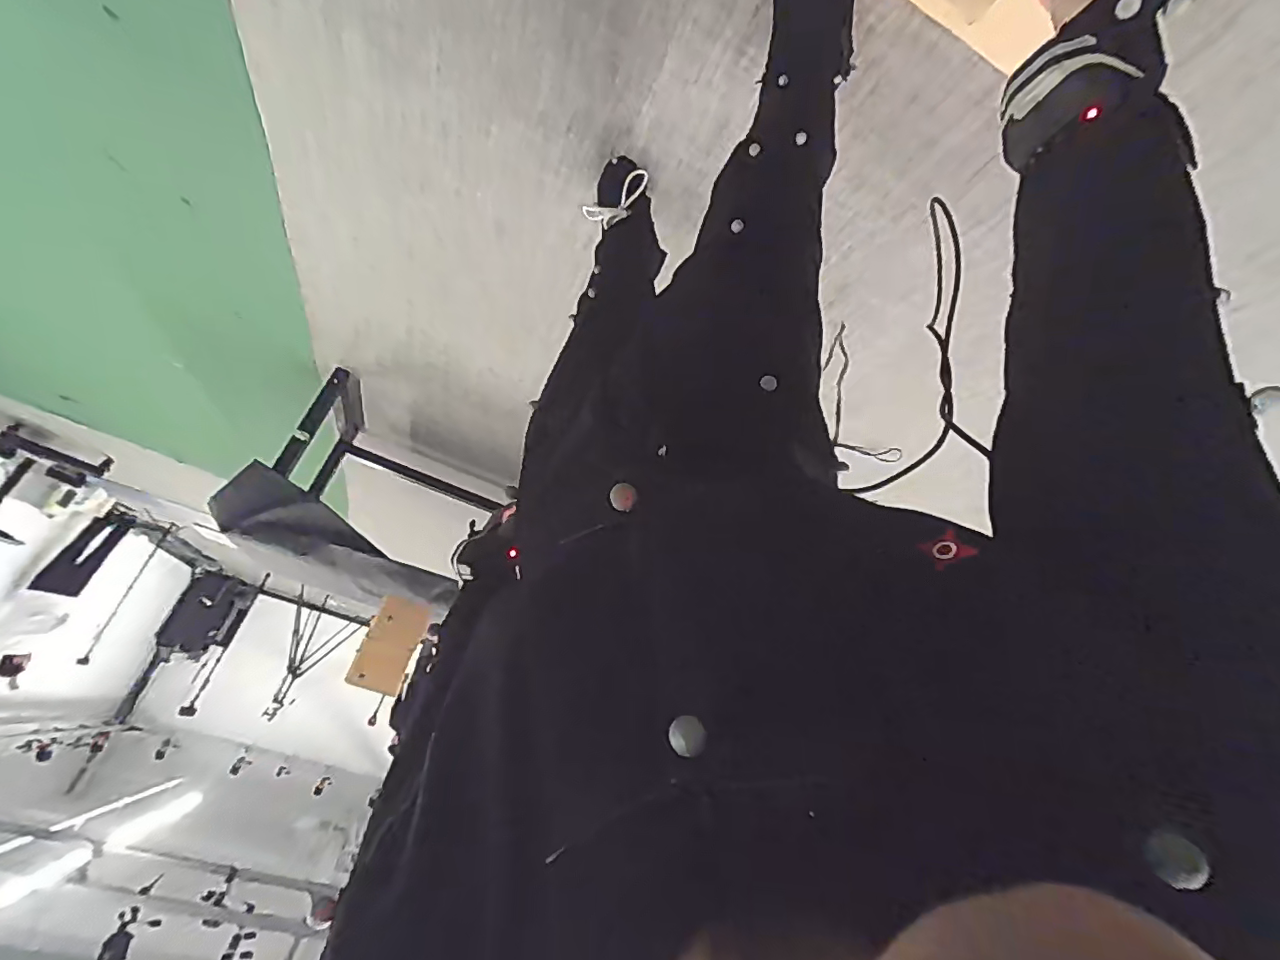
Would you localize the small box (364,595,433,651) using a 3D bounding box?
[{"bbox_3d":[-0.915,0.540,2.052,0.179,0.176,0.168,27,153,-22],"label":"small box"}]

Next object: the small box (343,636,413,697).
[{"bbox_3d":[-0.958,0.681,1.984,0.179,0.176,0.168,28,152,-22],"label":"small box"}]
